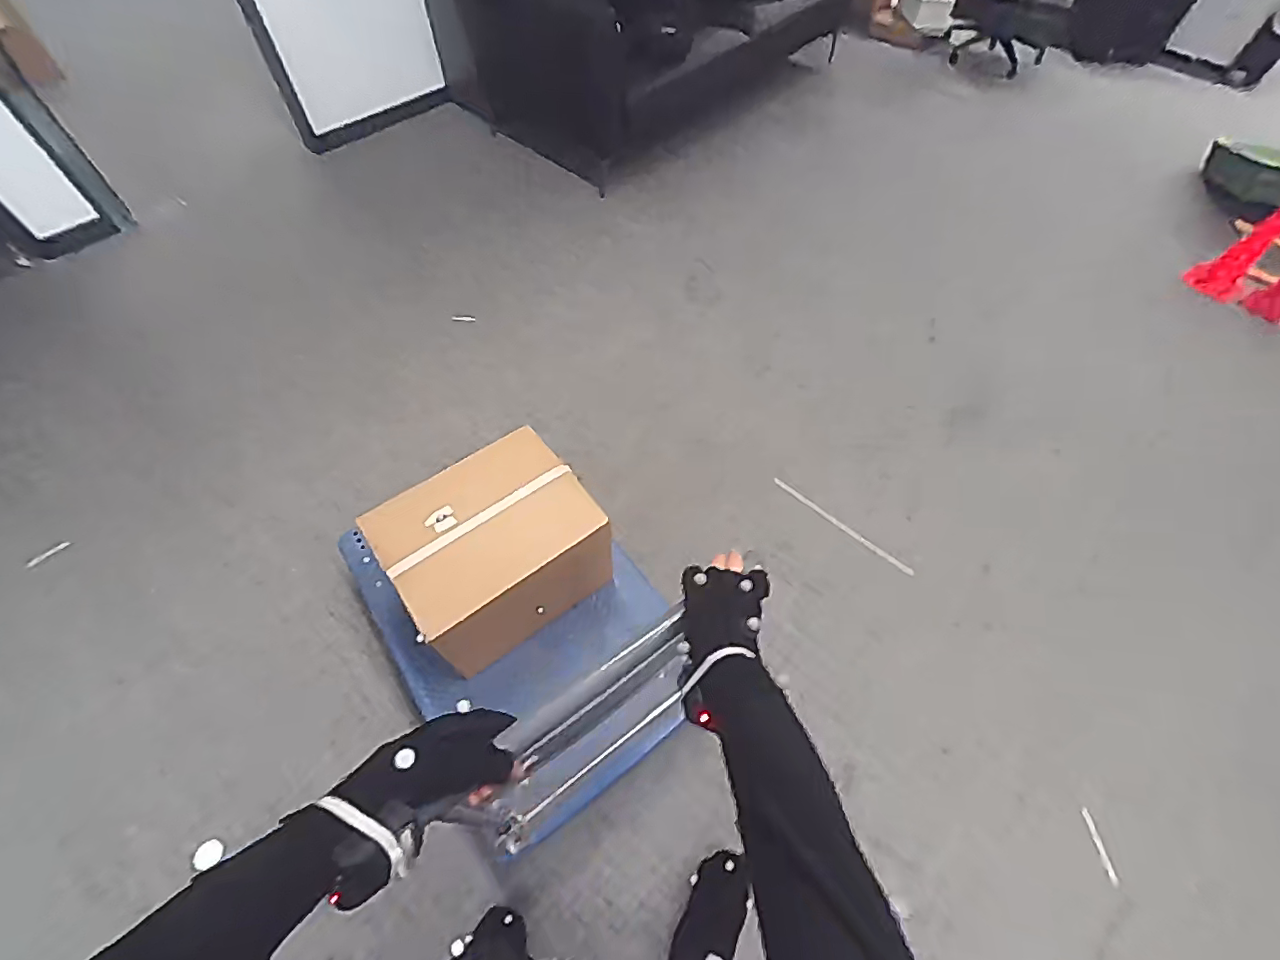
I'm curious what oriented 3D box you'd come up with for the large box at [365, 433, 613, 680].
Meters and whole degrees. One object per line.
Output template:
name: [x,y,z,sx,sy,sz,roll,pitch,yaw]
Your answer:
large box: [-0.307,0.174,1.214,0.408,0.320,0.320,-34,64,-20]
